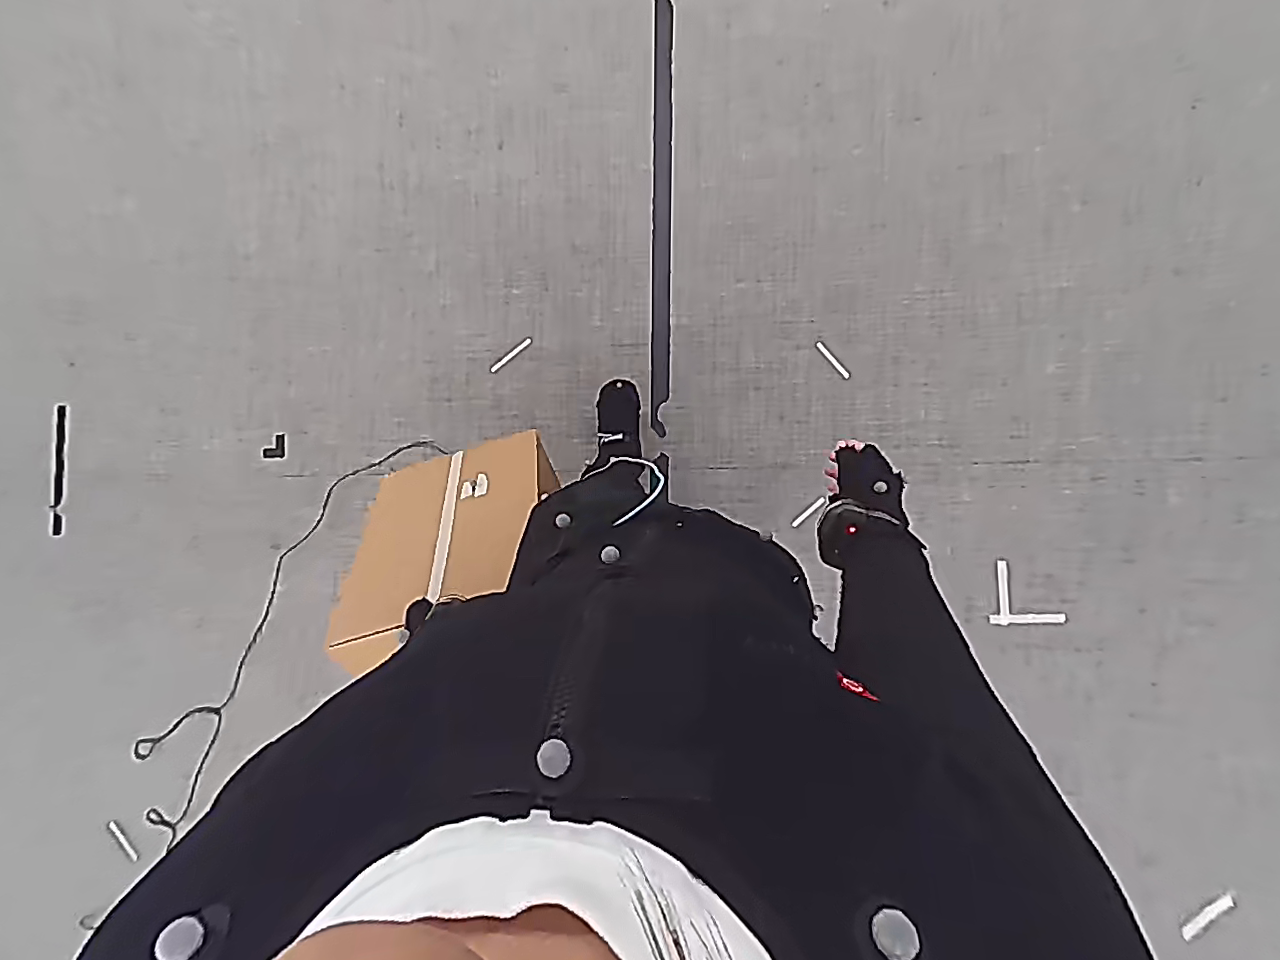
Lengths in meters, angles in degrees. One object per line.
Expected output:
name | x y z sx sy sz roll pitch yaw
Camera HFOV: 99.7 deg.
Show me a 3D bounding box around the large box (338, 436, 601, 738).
large box | -0.277 0.184 1.005 0.320 0.408 0.320 -16 127 2
